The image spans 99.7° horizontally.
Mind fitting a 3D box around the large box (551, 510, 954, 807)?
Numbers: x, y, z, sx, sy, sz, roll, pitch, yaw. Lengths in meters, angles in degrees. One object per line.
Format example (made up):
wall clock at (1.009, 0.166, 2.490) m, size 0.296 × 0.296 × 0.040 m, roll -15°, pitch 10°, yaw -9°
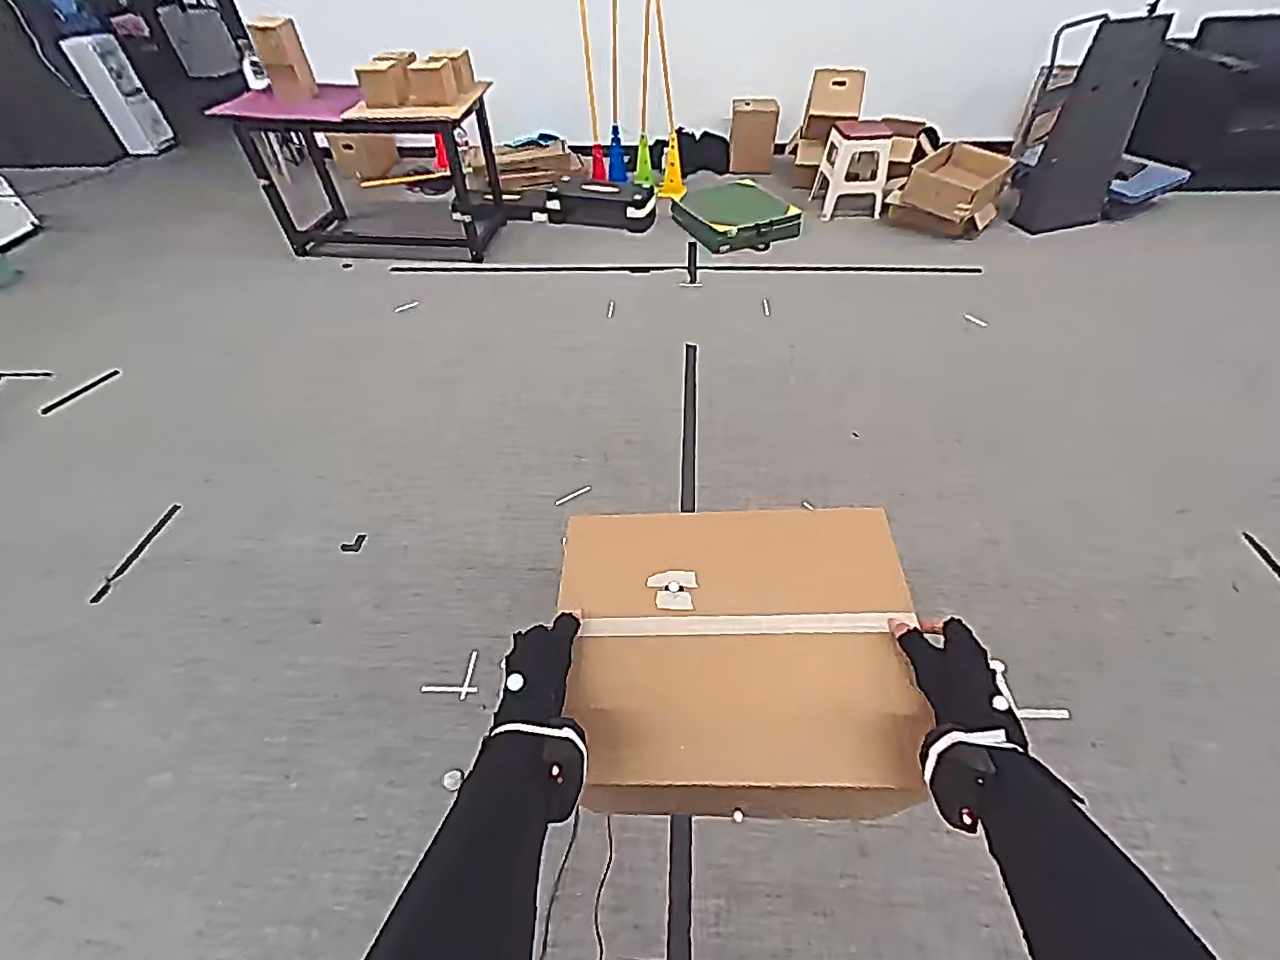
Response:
large box at (0.124, 0.258, 0.739) m, size 0.408 × 0.320 × 0.320 m, roll -2°, pitch 53°, yaw 5°
